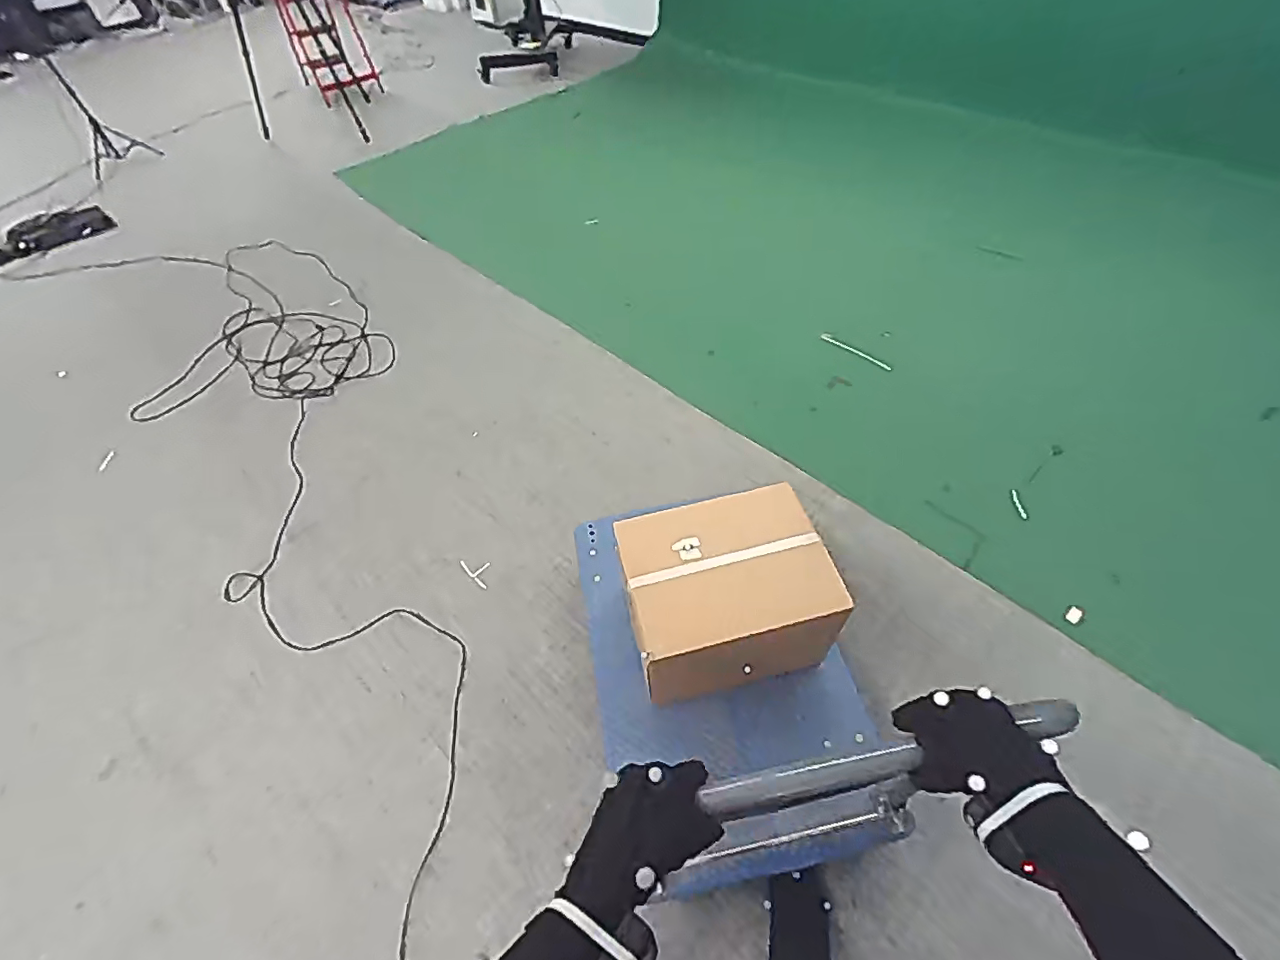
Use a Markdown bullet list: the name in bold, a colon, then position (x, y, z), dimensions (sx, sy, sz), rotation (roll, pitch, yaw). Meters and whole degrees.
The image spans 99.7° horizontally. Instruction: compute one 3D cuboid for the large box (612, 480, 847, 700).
- **large box**: position (0.178, 0.252, 1.213), dimensions (0.408, 0.320, 0.320), rotation (-14, 53, -6)
